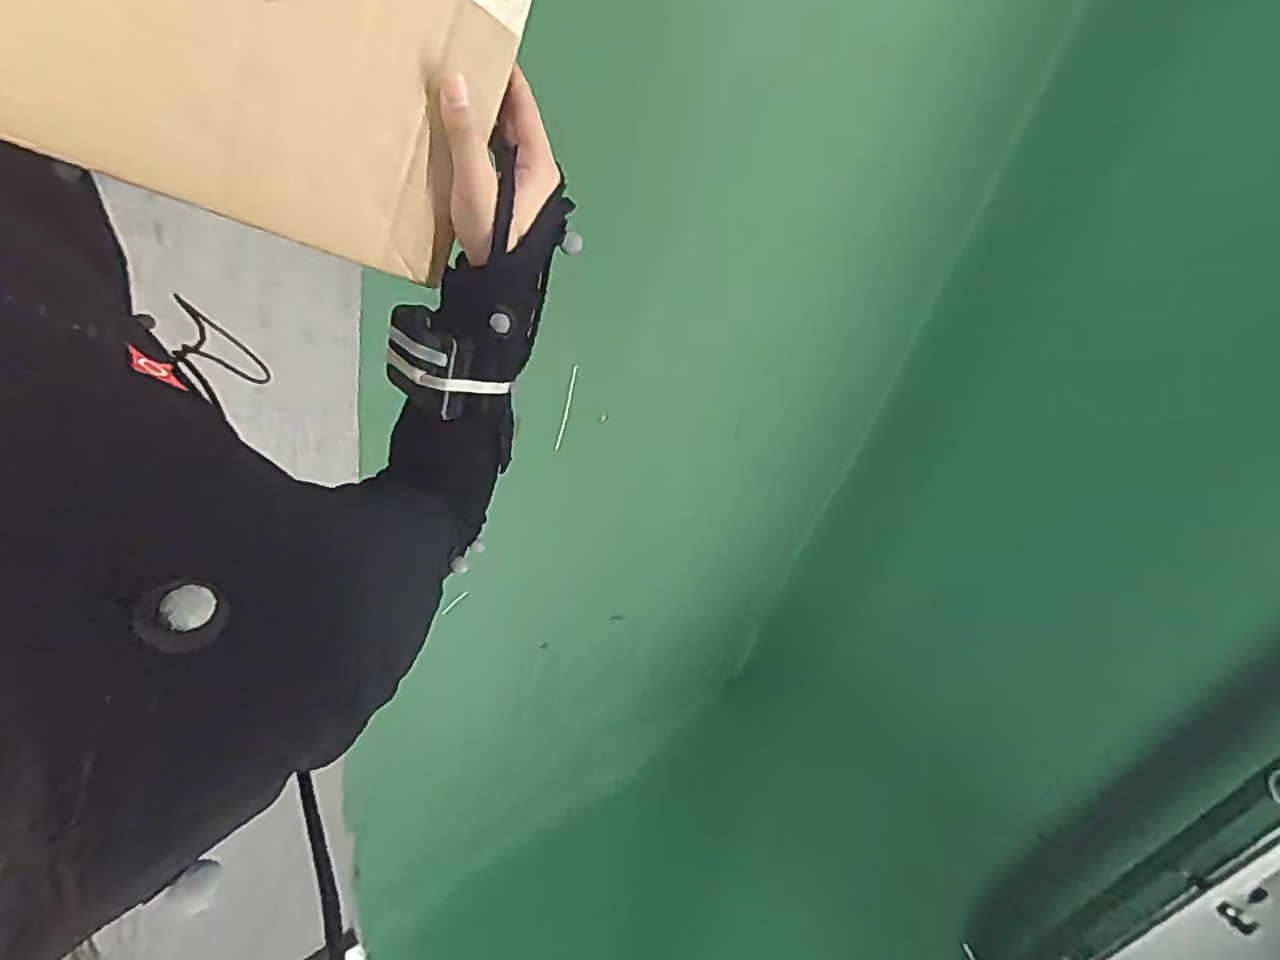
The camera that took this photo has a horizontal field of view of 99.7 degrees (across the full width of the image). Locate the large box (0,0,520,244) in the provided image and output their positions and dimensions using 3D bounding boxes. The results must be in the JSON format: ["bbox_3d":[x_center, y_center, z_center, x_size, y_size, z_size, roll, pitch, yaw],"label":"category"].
[{"bbox_3d":[-0.288,-0.360,0.237,0.408,0.320,0.320,4,118,-48],"label":"large box"}]
